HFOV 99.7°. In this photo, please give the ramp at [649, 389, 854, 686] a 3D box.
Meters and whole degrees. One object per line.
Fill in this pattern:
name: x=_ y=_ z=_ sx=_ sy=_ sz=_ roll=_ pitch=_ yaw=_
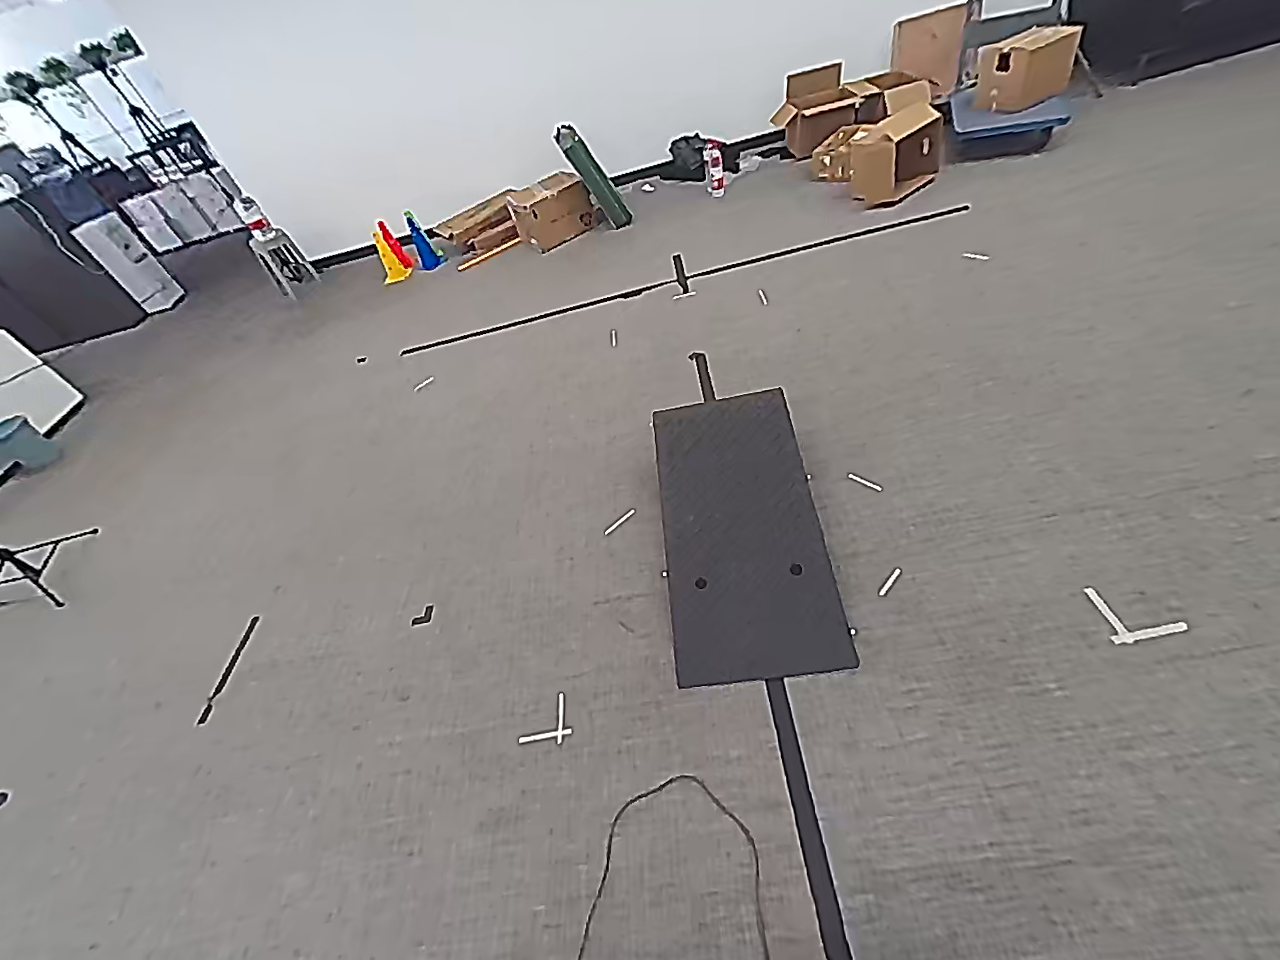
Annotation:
ramp: x=0.308 y=0.122 z=1.747 sx=0.509 sy=0.206 sz=0.991 roll=-11 pitch=46 yaw=7
